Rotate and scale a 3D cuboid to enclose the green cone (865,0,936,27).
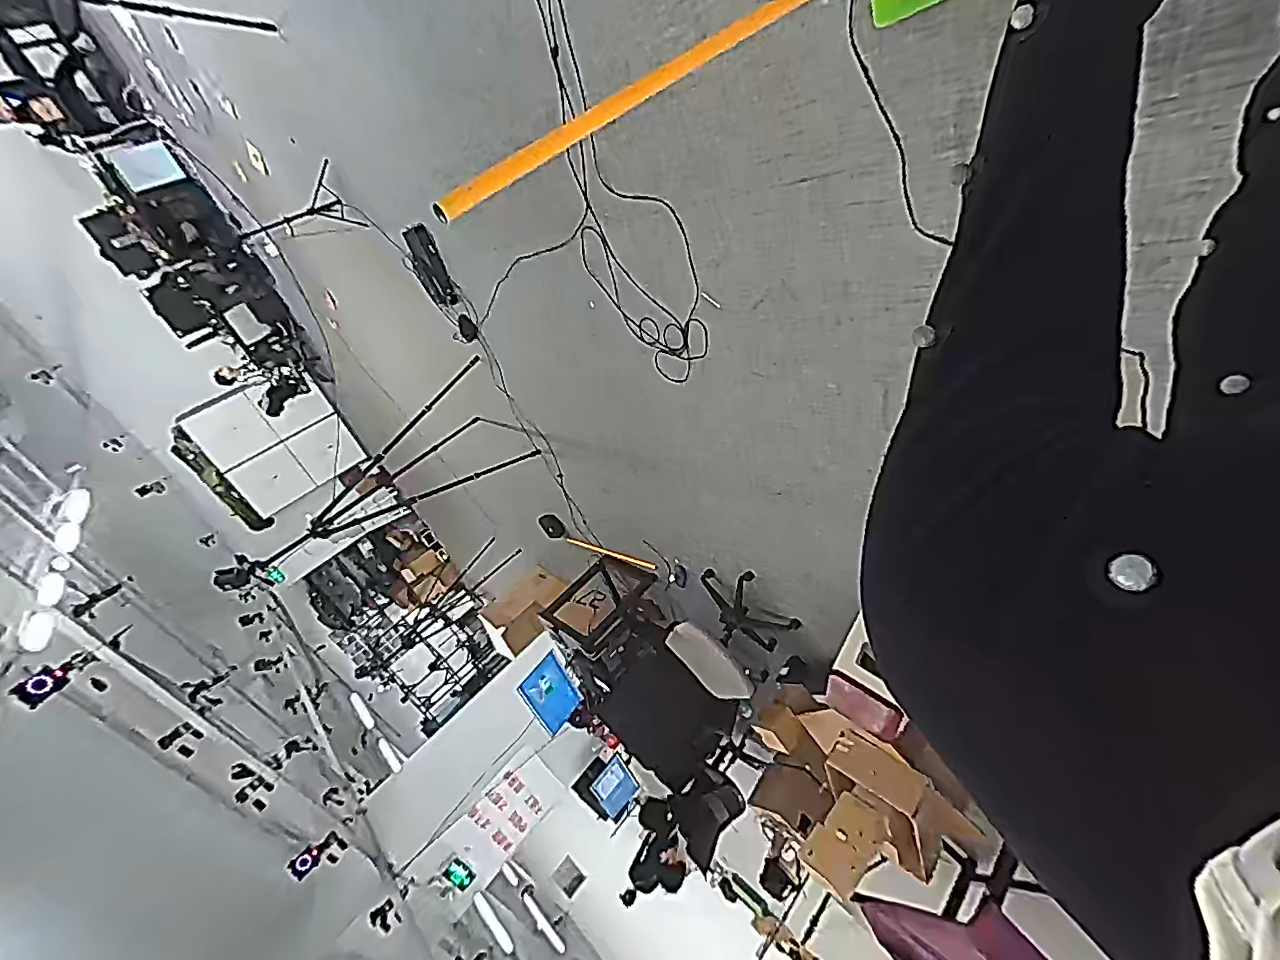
[{"bbox_3d":[0.430,-0.979,1.024,0.202,0.368,0.200,15,137,49],"label":"green cone"}]
